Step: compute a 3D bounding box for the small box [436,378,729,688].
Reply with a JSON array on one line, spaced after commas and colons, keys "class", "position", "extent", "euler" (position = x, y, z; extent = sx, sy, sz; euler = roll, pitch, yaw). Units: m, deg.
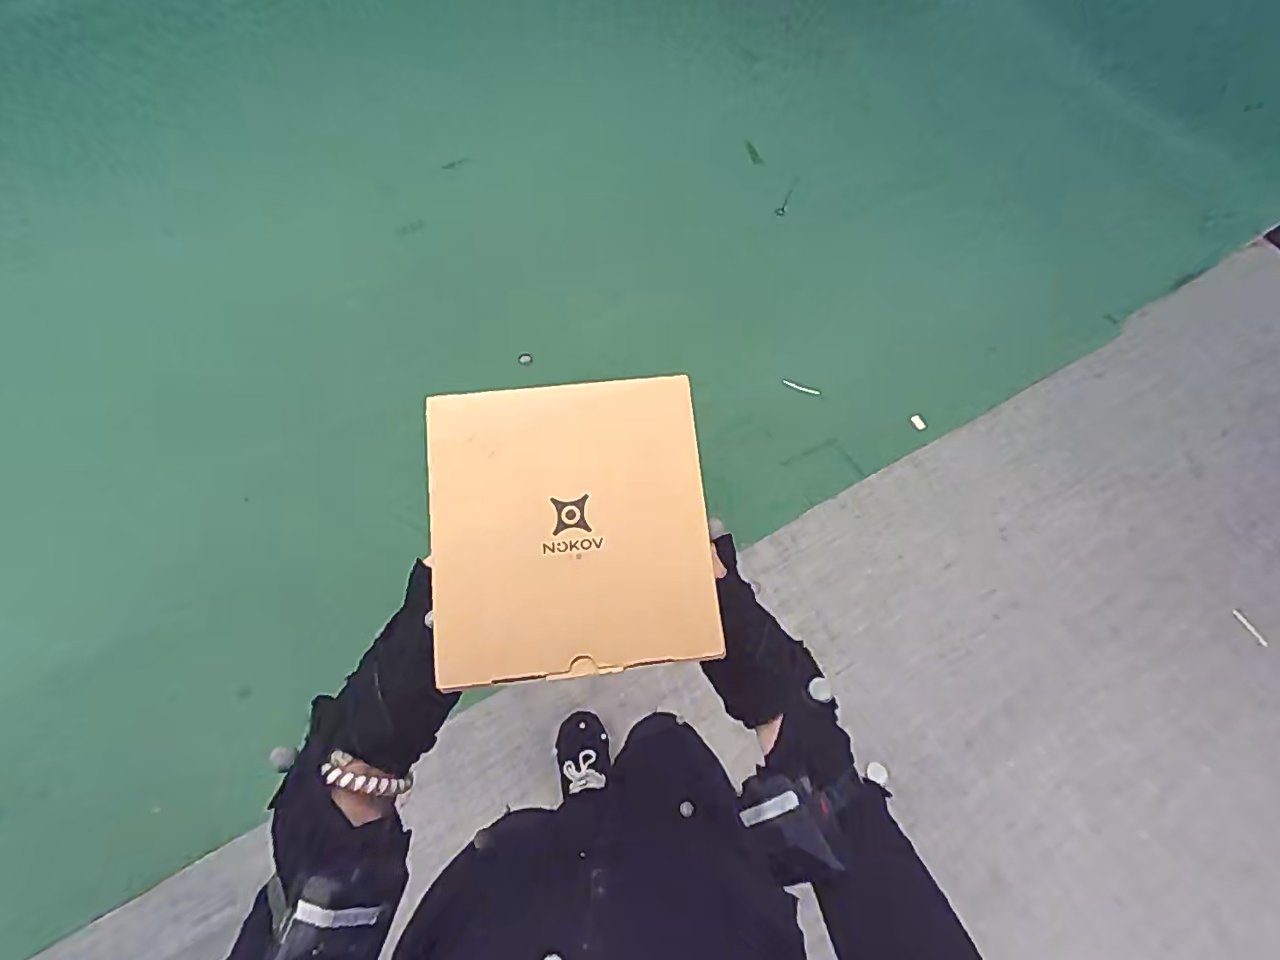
[{"class": "small box", "position": [-0.043, 0.041, 0.402], "extent": [0.168, 0.176, 0.179], "euler": [-6, 80, -5]}]
